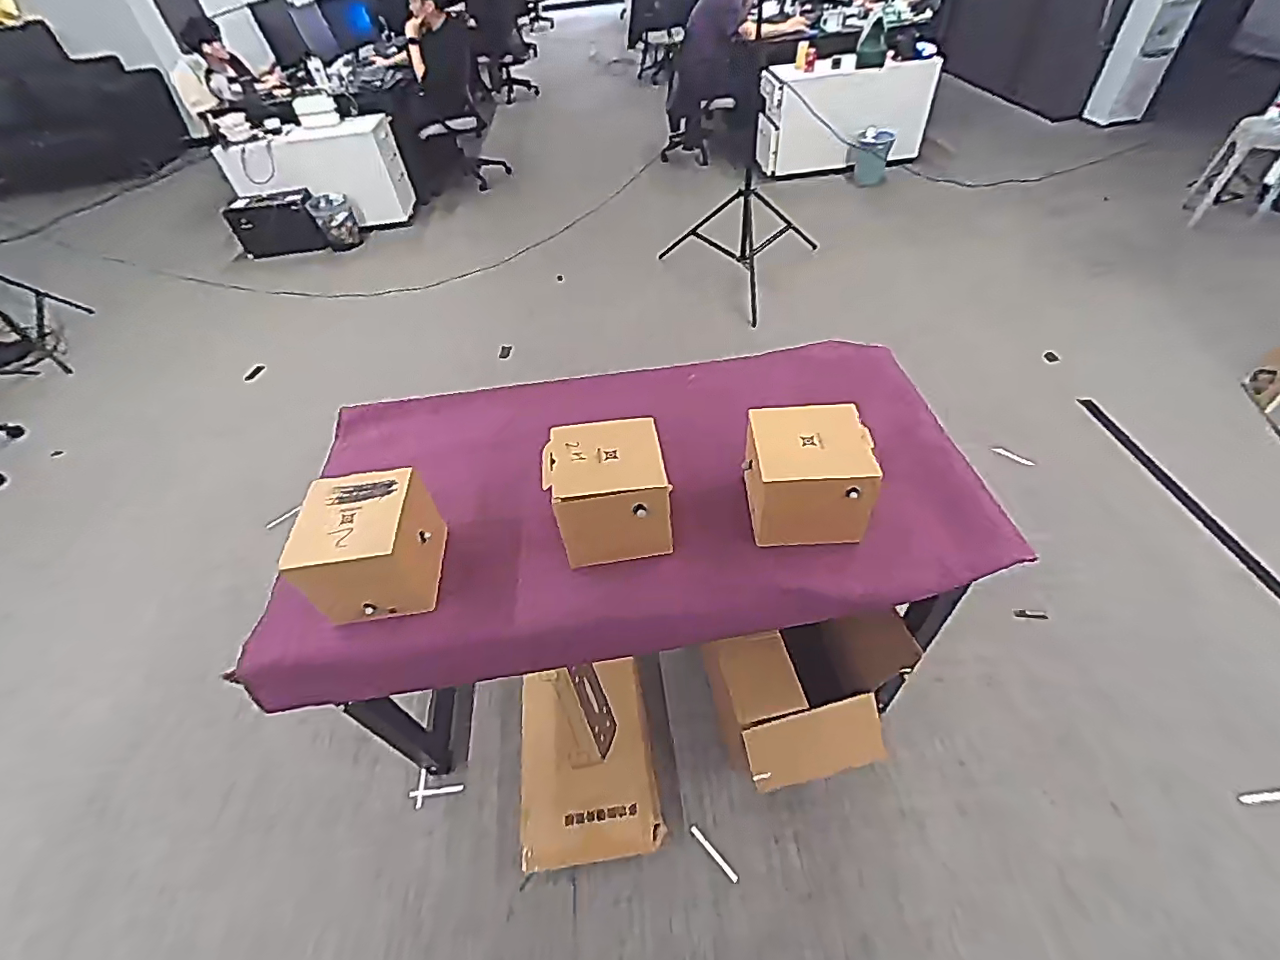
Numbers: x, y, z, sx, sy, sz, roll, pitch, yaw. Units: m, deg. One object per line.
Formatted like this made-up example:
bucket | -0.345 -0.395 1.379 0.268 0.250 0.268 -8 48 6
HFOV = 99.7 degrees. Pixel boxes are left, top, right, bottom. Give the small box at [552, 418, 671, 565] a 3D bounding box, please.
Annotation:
small box | -0.045 0.021 0.904 0.179 0.176 0.168 -9 45 -2

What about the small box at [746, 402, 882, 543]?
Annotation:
small box | 0.272 -0.009 0.897 0.179 0.176 0.168 -3 47 3
